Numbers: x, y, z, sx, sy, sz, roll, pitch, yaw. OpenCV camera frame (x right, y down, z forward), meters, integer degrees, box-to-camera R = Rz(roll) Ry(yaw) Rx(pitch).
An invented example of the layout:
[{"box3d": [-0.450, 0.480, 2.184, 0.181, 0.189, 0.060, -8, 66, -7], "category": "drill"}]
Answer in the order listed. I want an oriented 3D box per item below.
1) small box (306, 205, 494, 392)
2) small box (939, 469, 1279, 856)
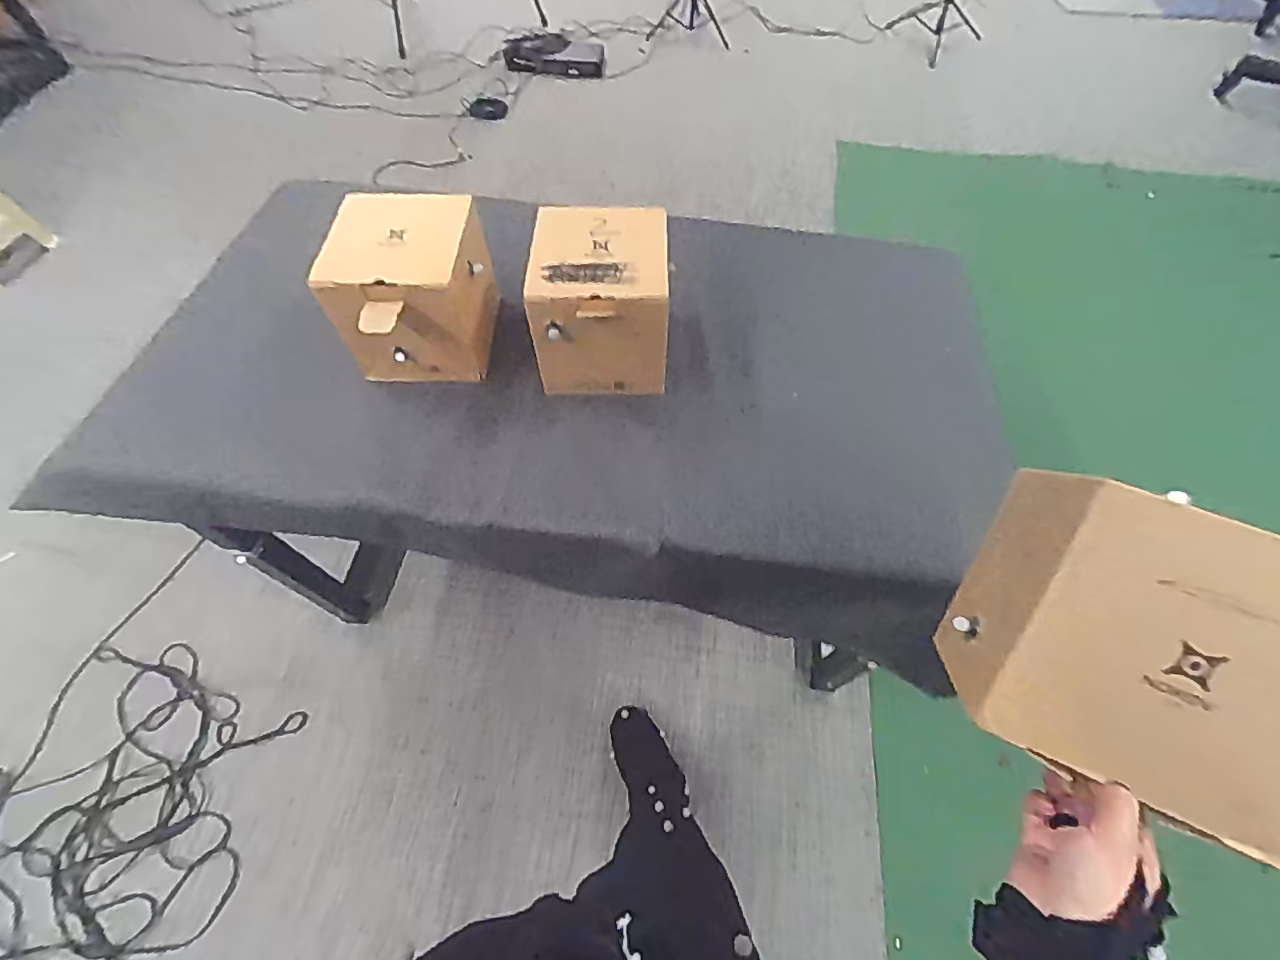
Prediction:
[{"box3d": [-0.301, -0.240, 0.727, 0.168, 0.176, 0.179, 0, 59, -1], "category": "small box"}, {"box3d": [0.338, 0.100, 0.388, 0.168, 0.176, 0.179, 21, 99, 17], "category": "small box"}]
